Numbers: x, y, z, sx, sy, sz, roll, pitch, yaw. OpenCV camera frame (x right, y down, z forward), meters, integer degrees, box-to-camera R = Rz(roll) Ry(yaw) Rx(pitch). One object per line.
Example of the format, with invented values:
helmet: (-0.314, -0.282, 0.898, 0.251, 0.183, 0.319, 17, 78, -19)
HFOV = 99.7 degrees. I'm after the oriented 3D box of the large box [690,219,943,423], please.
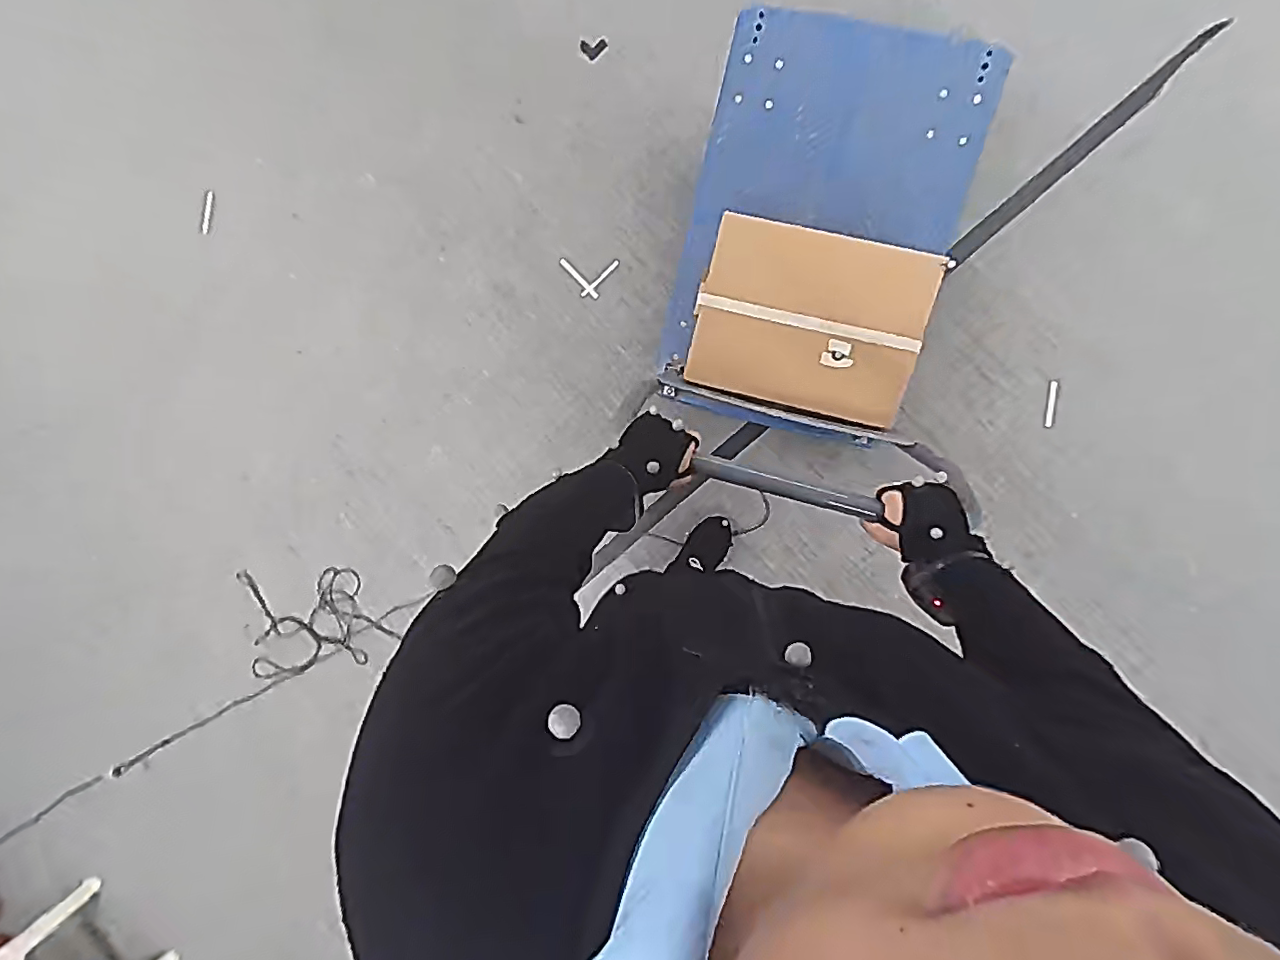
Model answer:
large box: (0.337, -0.324, 1.155, 0.408, 0.320, 0.320, 14, 104, 5)
